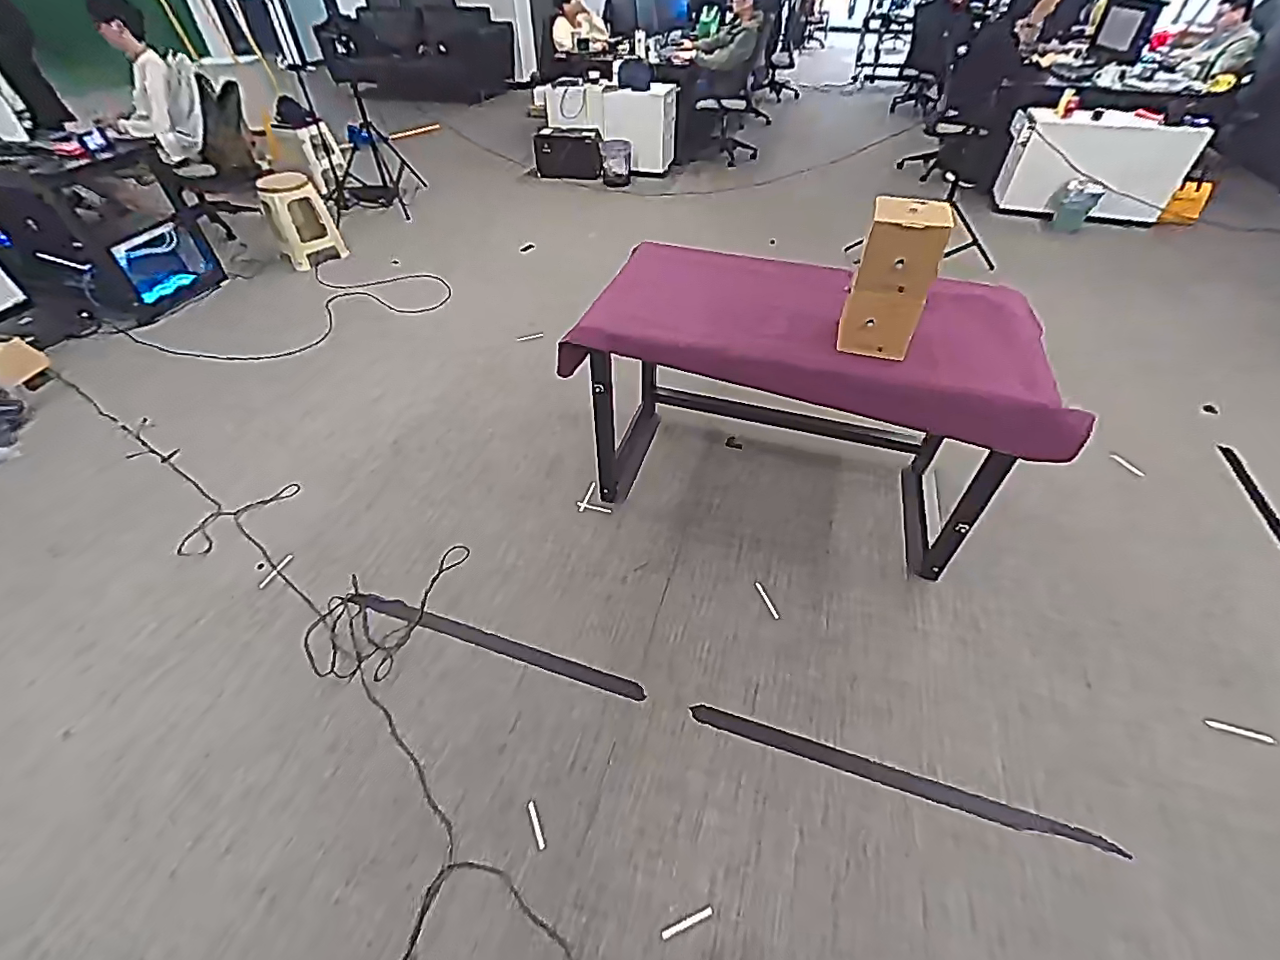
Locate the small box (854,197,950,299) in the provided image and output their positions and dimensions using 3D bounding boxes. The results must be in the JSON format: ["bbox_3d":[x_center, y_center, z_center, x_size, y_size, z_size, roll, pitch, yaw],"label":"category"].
[{"bbox_3d":[0.619,-0.553,1.291,0.168,0.176,0.179,14,47,14],"label":"small box"}]

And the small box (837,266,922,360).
[{"bbox_3d":[0.617,-0.434,1.404,0.168,0.176,0.179,13,46,13],"label":"small box"}]
